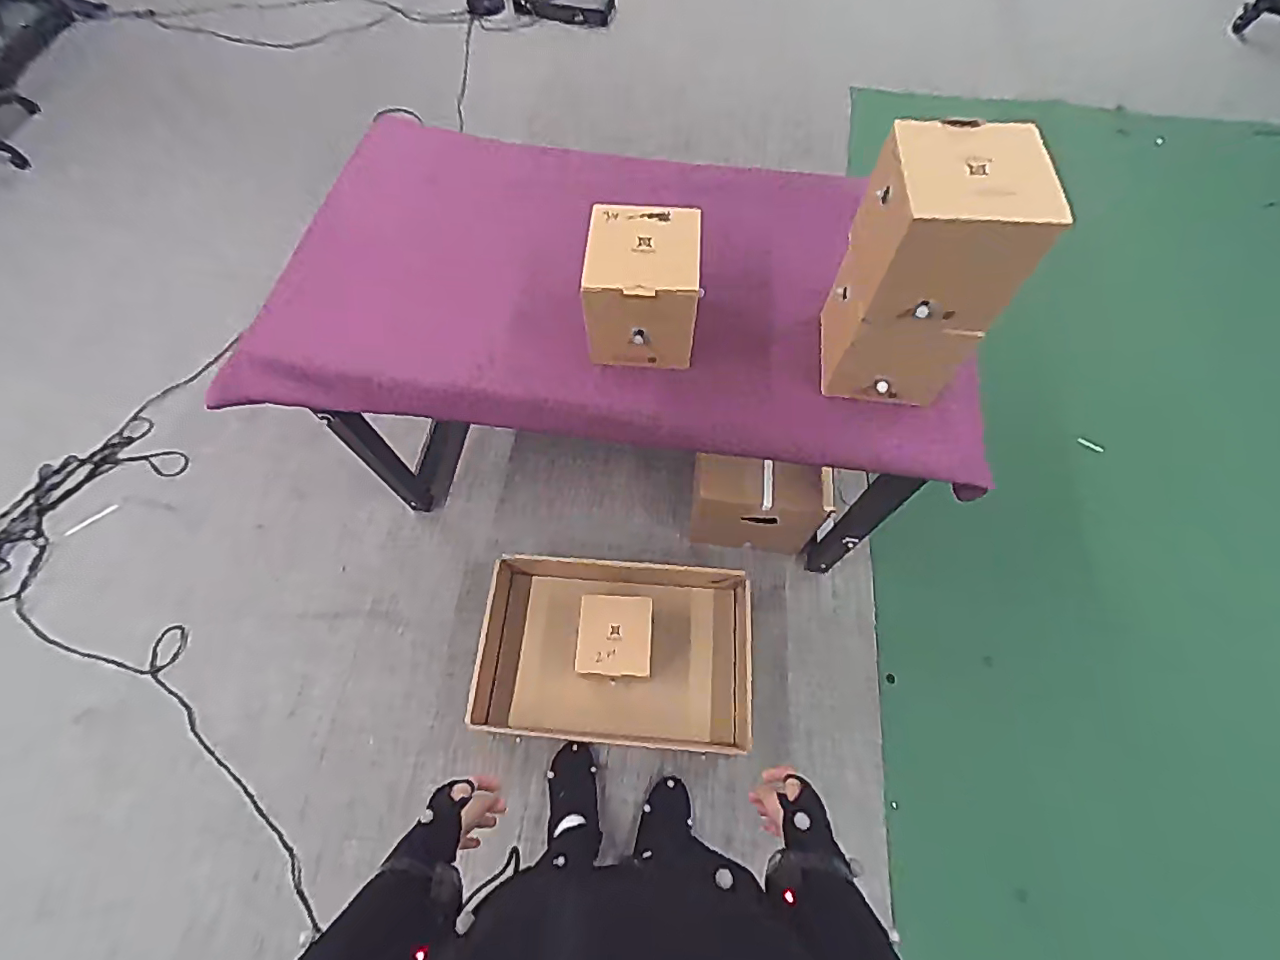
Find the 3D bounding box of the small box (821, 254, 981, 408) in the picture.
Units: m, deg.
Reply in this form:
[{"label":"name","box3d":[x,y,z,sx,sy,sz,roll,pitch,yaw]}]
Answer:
[{"label":"small box","box3d":[0.380,-0.235,0.824,0.168,0.176,0.179,7,64,4]}]

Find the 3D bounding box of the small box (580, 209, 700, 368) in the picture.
[{"label":"small box","box3d":[0.005,-0.296,0.856,0.168,0.176,0.179,4,64,2]}]

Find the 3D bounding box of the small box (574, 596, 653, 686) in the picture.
[{"label":"small box","box3d":[-0.058,0.383,1.277,0.168,0.176,0.179,2,65,2]}]

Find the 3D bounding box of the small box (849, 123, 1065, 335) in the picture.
[{"label":"small box","box3d":[0.374,-0.310,0.680,0.168,0.176,0.179,4,63,4]}]
